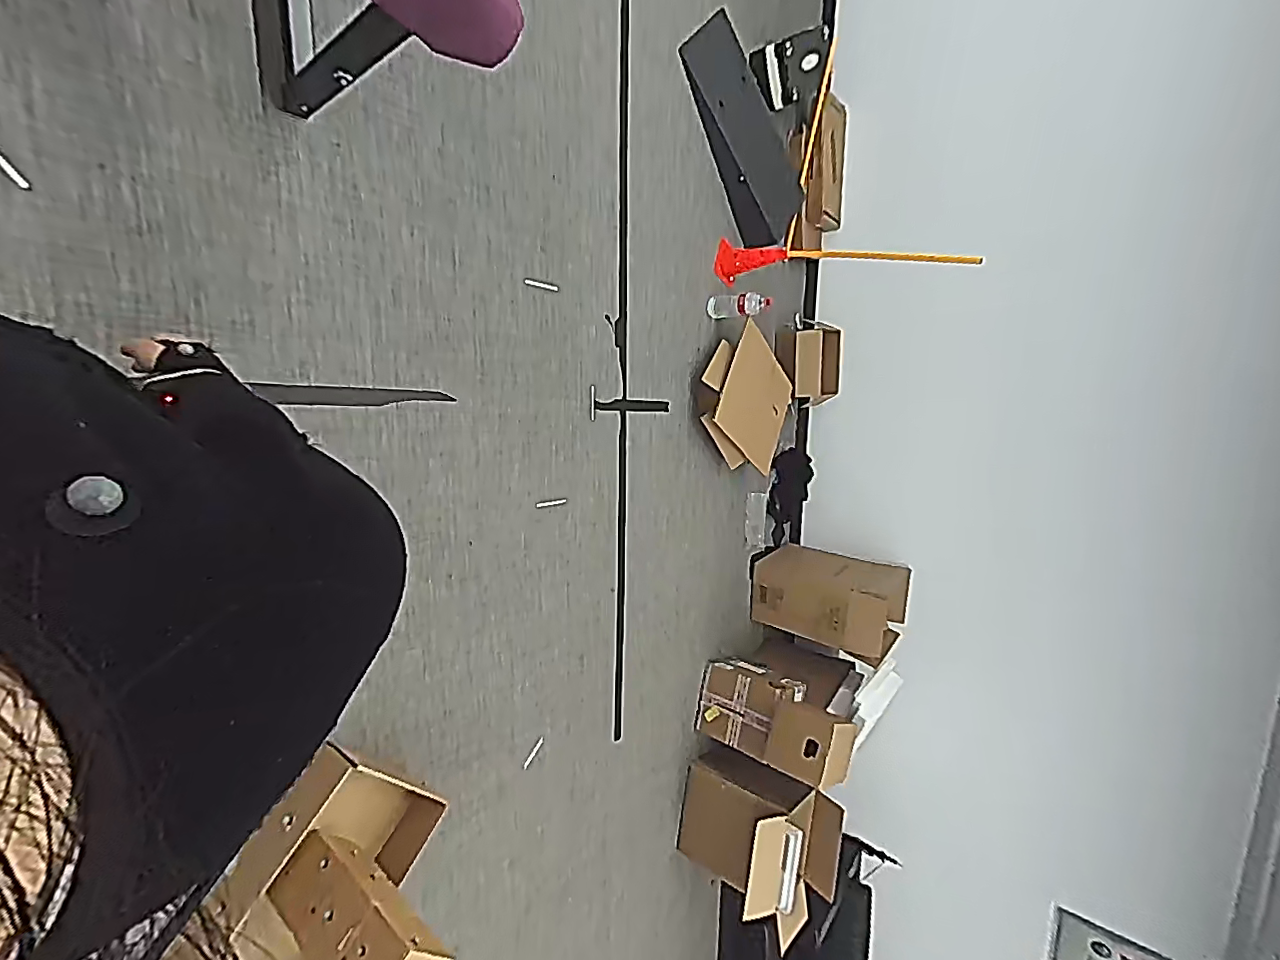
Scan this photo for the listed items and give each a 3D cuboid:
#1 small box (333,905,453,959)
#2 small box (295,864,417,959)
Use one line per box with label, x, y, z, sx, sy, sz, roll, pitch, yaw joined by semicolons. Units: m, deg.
small box;-0.577;1.125;1.243;0.168;0.176;0.179;-55;136;-29
small box;-0.705;1.095;1.340;0.168;0.176;0.179;-55;135;-30
